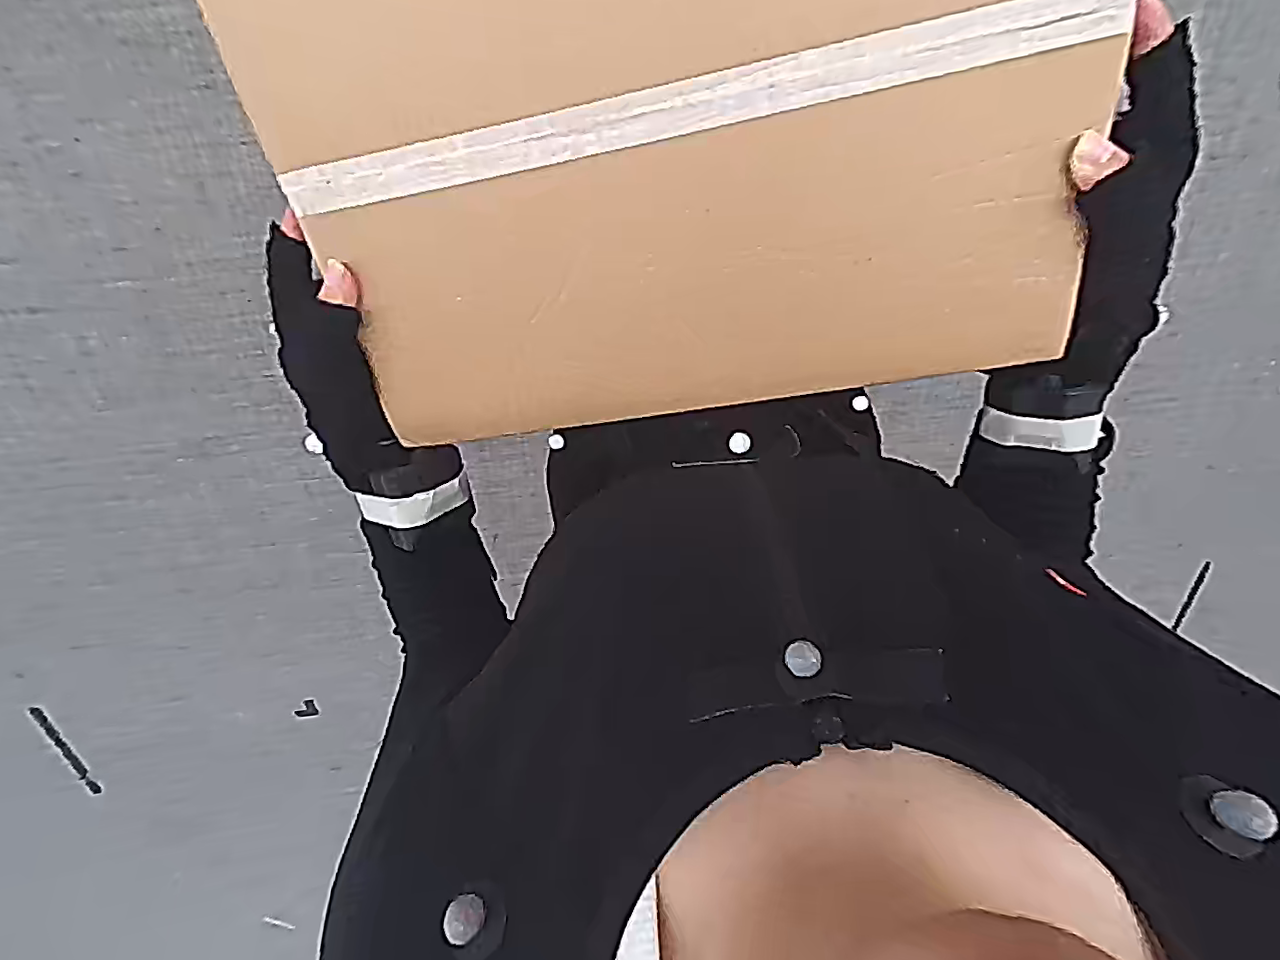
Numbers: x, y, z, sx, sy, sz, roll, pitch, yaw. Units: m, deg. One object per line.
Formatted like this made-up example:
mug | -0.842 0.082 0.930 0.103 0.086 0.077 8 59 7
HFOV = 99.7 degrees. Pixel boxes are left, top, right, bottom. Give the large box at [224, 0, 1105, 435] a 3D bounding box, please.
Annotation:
large box | 0.022 -0.261 0.394 0.408 0.320 0.320 -7 120 9
